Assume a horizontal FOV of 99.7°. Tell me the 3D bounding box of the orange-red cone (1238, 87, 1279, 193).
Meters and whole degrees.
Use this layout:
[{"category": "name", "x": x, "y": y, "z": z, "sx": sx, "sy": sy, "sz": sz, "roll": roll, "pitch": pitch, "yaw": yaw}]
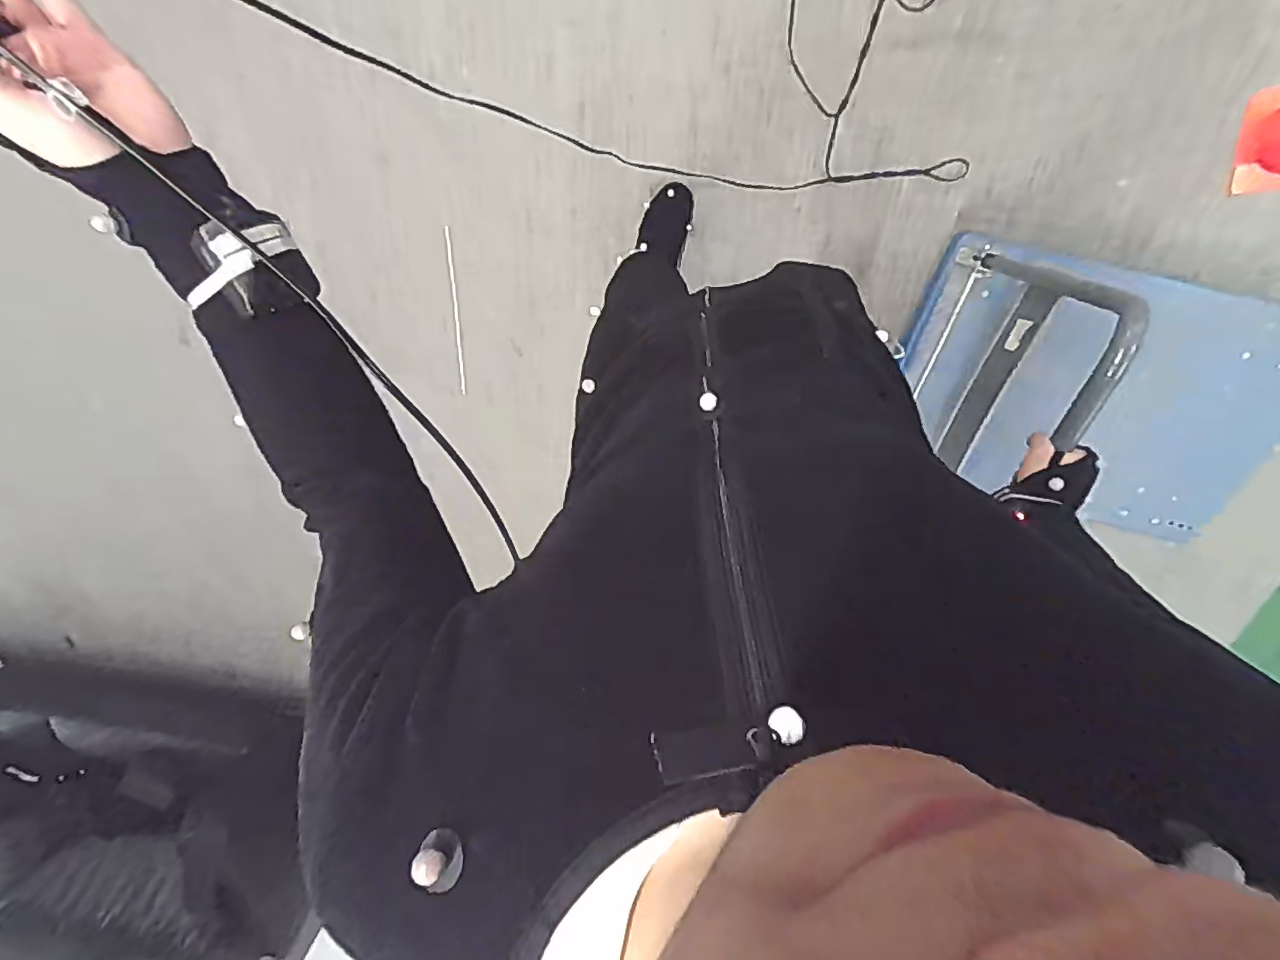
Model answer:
[{"category": "orange-red cone", "x": 1.356, "y": -0.643, "z": 0.973, "sx": 0.198, "sy": 0.360, "sz": 0.199, "roll": -6, "pitch": 115, "yaw": 12}]
